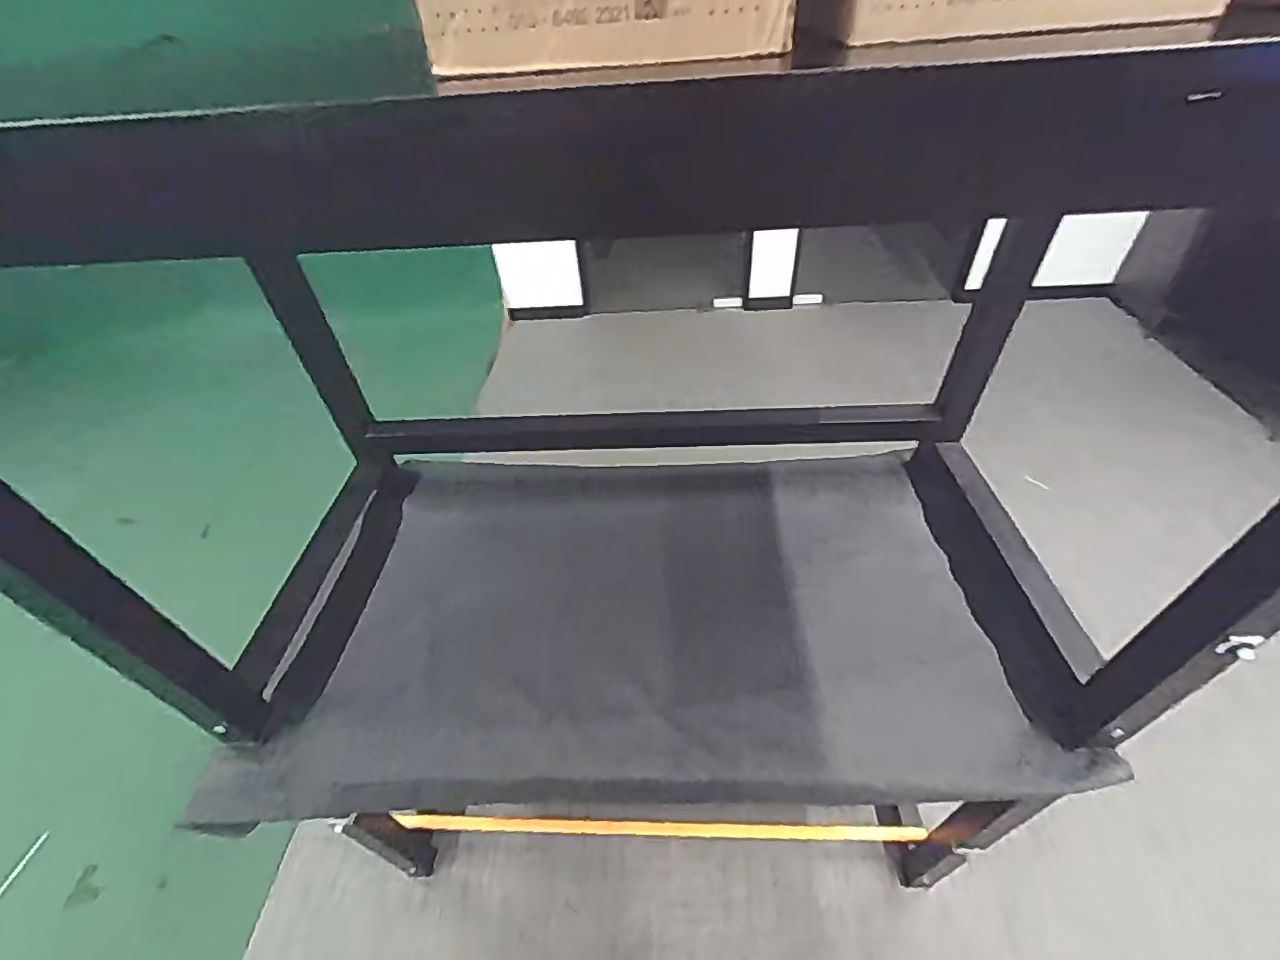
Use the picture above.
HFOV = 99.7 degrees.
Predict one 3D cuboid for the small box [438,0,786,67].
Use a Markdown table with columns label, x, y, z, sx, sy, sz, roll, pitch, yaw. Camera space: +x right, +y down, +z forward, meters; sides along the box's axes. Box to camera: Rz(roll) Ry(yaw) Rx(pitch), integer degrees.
| label | x | y | z | sx | sy | sz | roll | pitch | yaw |
| --- | --- | --- | --- | --- | --- | --- | --- | --- | --- |
| small box | -0.016 | -0.311 | 0.258 | 0.168 | 0.176 | 0.179 | -1 | 43 | 3 |
